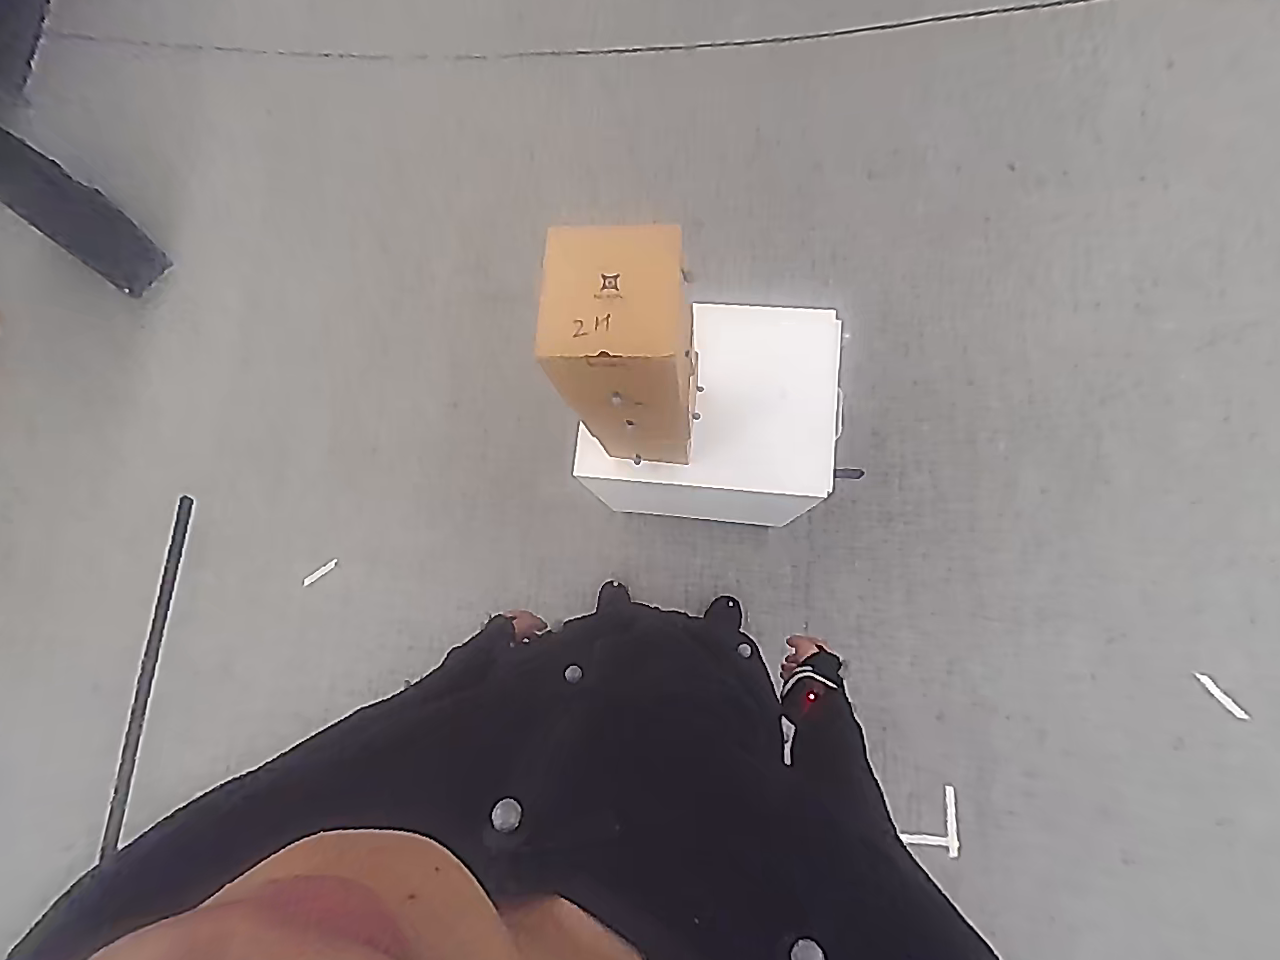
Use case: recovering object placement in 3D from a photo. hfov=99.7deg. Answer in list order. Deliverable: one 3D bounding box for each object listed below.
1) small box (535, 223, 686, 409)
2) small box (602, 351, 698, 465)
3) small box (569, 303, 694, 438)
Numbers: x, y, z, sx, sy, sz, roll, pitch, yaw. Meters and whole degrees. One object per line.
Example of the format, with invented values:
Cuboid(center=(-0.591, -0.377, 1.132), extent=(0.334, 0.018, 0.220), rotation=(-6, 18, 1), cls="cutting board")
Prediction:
Cuboid(center=(-0.027, -0.206, 0.709), extent=(0.168, 0.176, 0.179), rotation=(2, 79, 7), cls="small box")
Cuboid(center=(0.018, -0.138, 1.027), extent=(0.168, 0.176, 0.179), rotation=(6, 80, 7), cls="small box")
Cuboid(center=(-0.004, -0.169, 0.868), extent=(0.179, 0.176, 0.168), rotation=(2, 78, 7), cls="small box")
